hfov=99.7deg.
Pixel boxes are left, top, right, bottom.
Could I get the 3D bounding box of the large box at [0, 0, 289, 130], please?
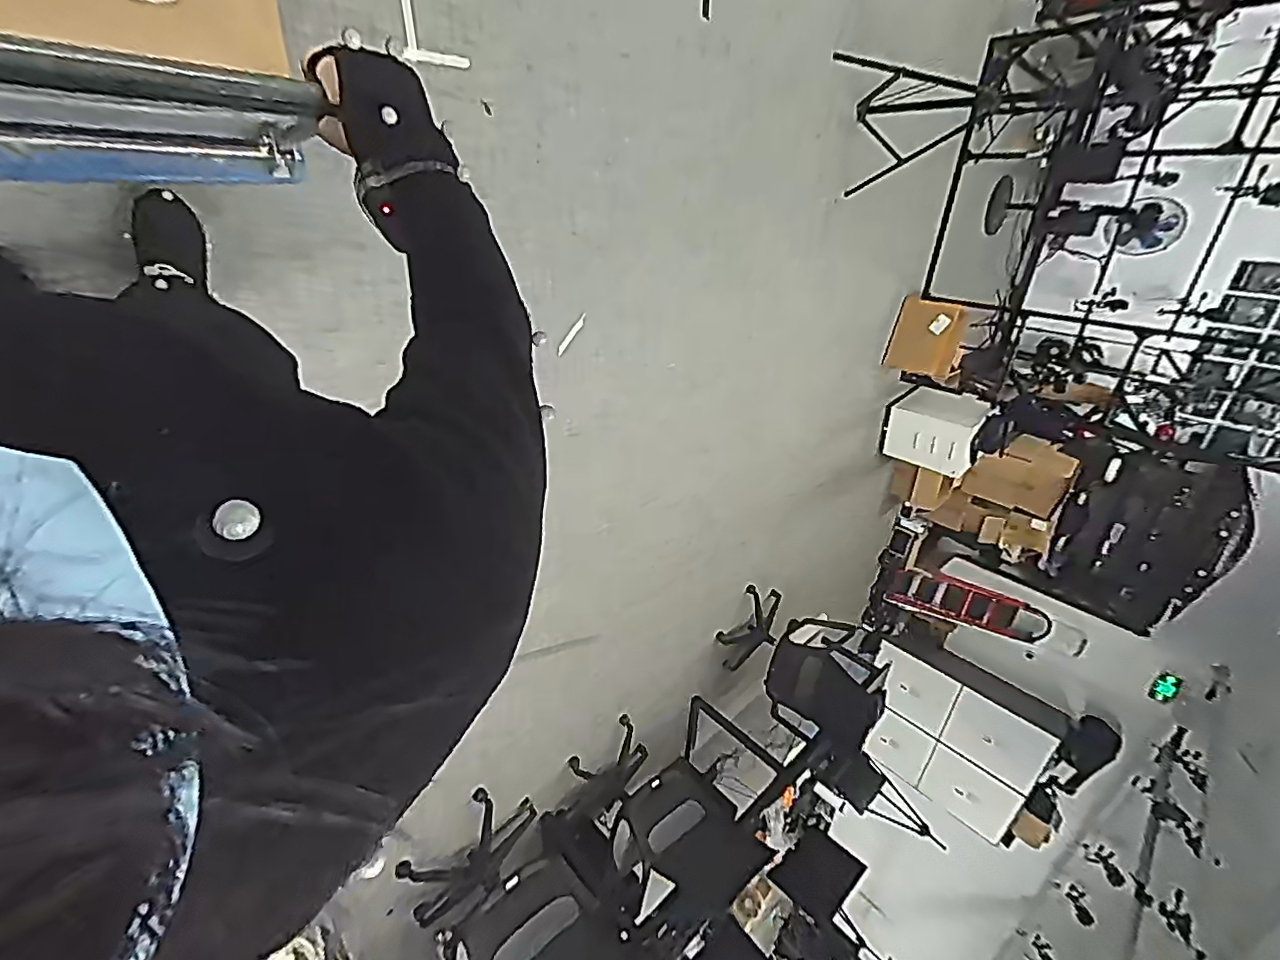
[{"bbox_3d":[-0.739,-0.643,0.665,0.408,0.320,0.320,-23,125,-39],"label":"large box"}]
